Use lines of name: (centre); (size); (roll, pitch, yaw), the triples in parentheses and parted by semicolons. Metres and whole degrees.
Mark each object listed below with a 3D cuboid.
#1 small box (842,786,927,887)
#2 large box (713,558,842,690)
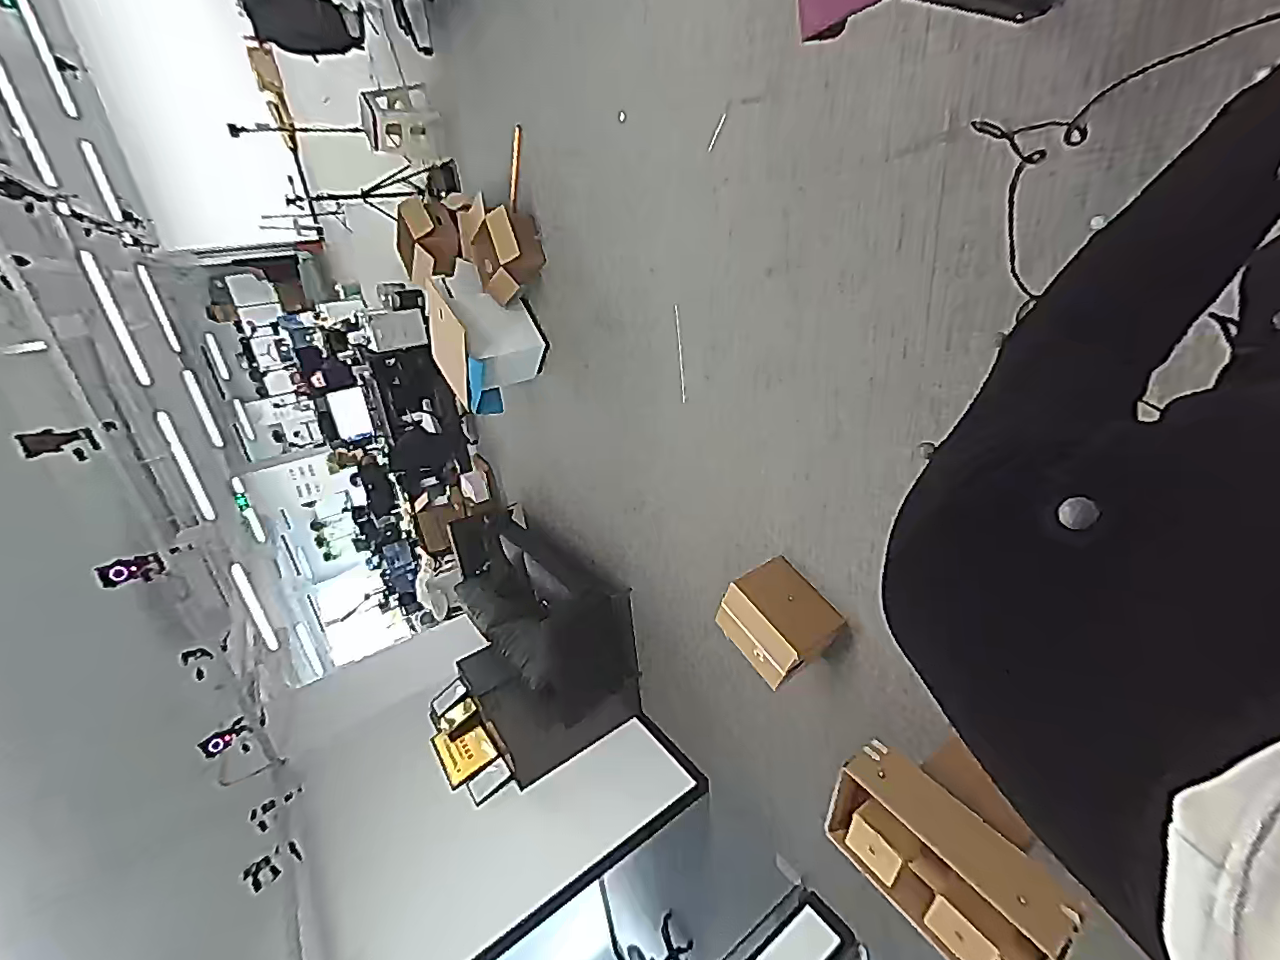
small box: (0.772, 1.120, 1.708); (0.168, 0.176, 0.179); (34, 134, 44)
large box: (0.593, 0.621, 2.386); (0.408, 0.320, 0.320); (46, 143, 32)
